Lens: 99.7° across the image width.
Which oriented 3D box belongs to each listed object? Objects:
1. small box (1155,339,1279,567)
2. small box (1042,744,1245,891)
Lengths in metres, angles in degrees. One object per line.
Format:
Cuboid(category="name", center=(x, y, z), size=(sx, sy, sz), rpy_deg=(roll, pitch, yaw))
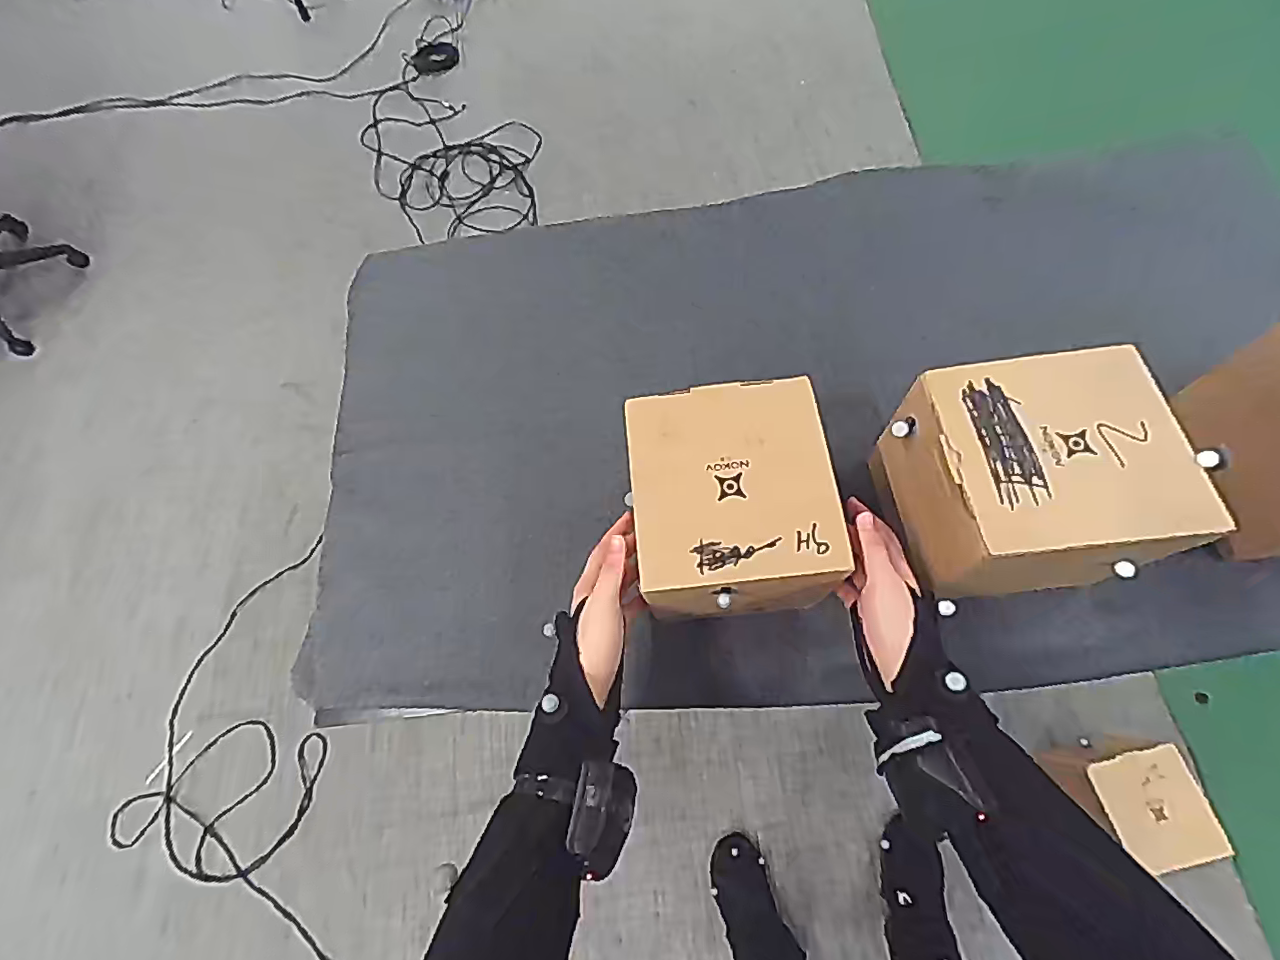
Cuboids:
Cuboid(category="small box", center=(0.624, -0.032, 0.465), size=(0.179, 0.176, 0.168), rpy_deg=(-8, 64, 6))
Cuboid(category="small box", center=(0.889, 0.597, 0.978), size=(0.168, 0.176, 0.179), rpy_deg=(-15, 68, 1))
